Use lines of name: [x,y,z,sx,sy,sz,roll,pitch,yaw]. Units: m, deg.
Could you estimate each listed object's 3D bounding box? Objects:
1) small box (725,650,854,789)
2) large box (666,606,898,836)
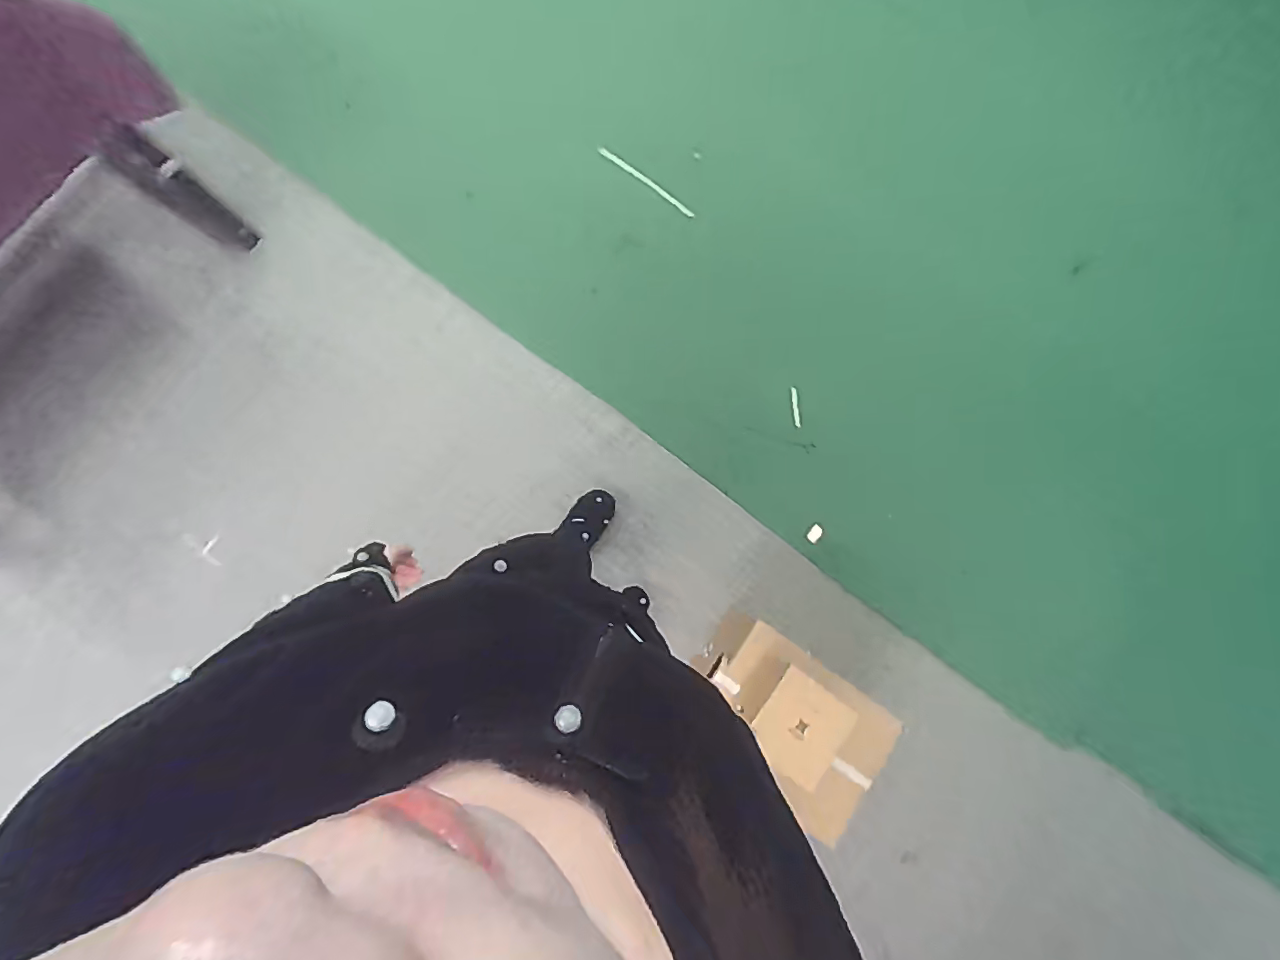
small box: [0.293,0.477,1.108,0.168,0.176,0.179,39,80,1]
large box: [0.326,0.561,1.347,0.408,0.320,0.320,36,82,1]
